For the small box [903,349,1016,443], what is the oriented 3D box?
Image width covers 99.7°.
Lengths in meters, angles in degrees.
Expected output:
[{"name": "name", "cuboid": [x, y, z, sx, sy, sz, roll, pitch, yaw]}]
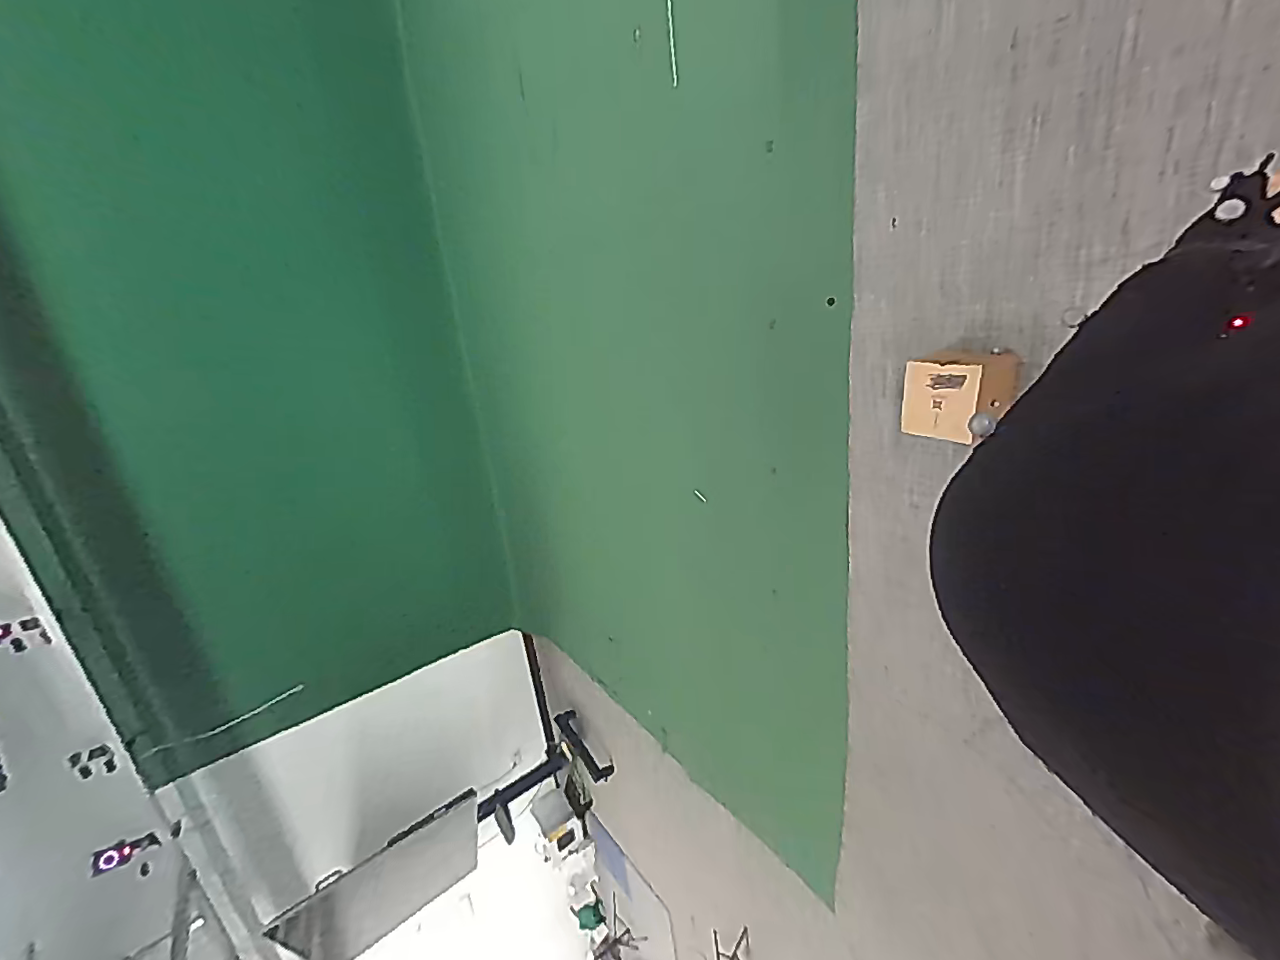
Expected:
[{"name": "small box", "cuboid": [0.742, -0.203, 1.255, 0.168, 0.176, 0.179, 23, 125, 50]}]
